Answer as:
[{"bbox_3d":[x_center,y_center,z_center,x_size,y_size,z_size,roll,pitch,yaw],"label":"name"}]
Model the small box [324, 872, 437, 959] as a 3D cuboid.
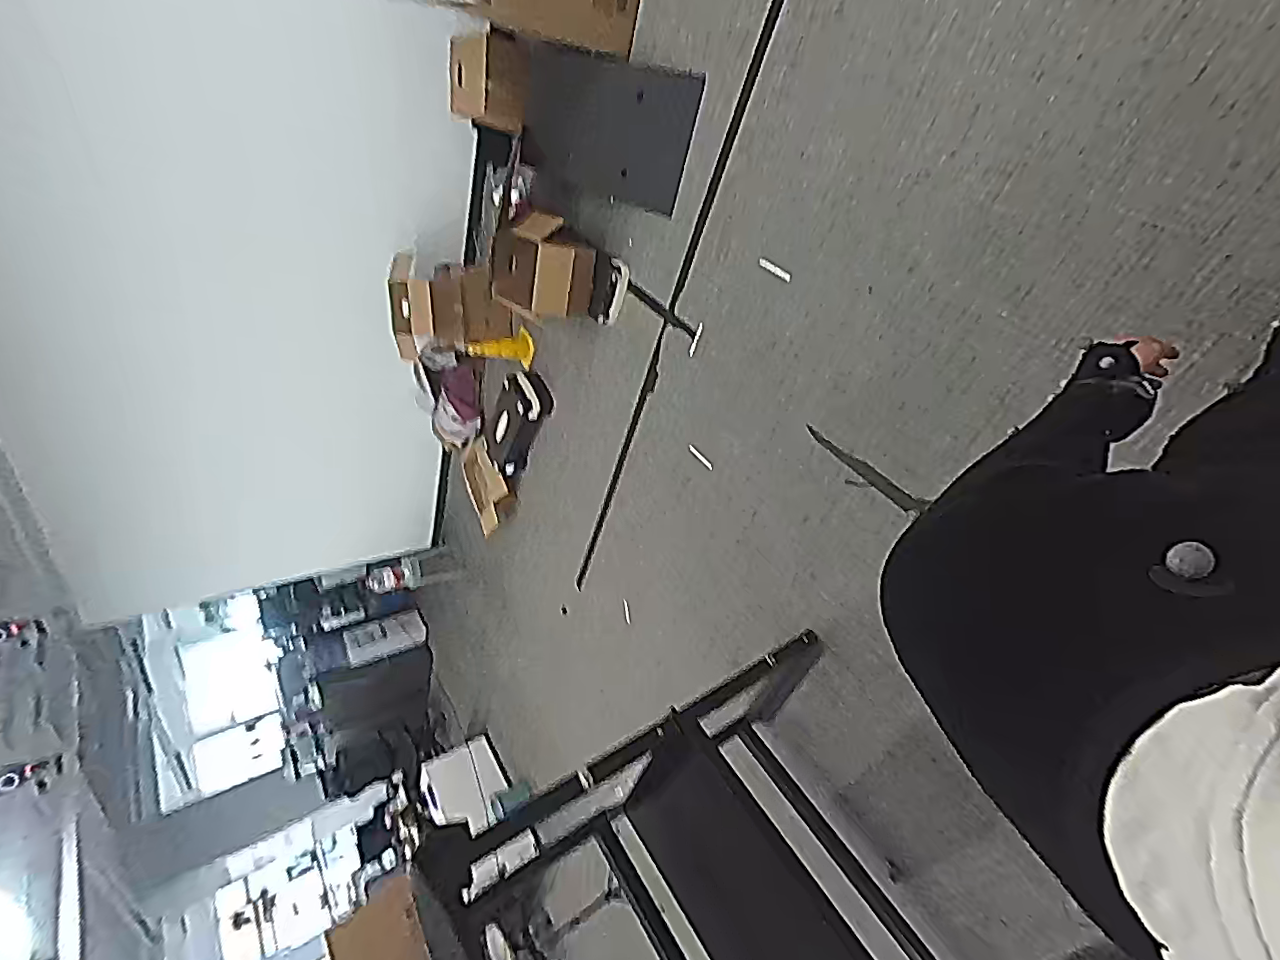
[{"bbox_3d":[-0.532,0.963,1.114,0.168,0.176,0.179,46,133,32],"label":"small box"}]
